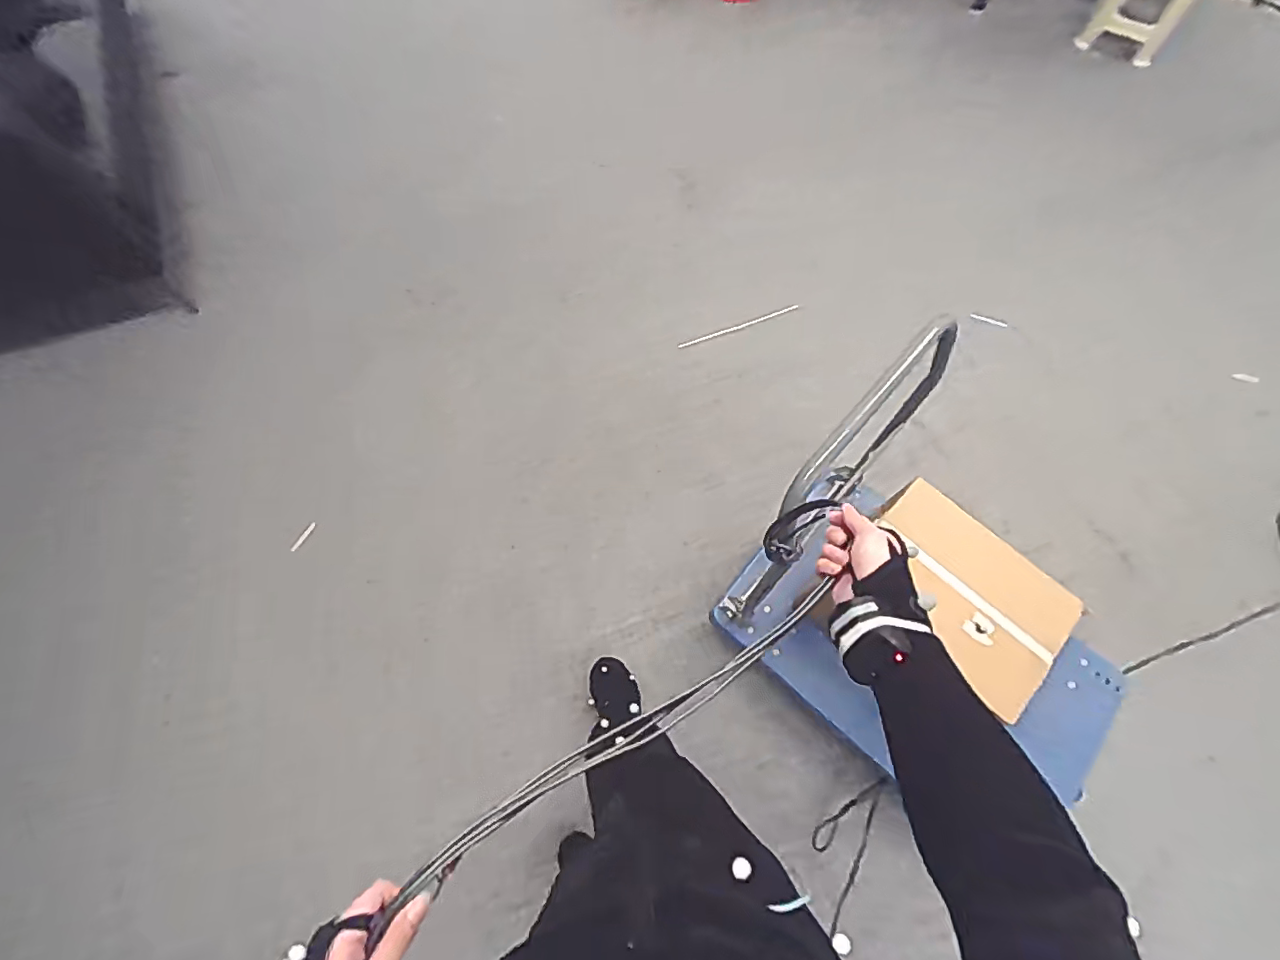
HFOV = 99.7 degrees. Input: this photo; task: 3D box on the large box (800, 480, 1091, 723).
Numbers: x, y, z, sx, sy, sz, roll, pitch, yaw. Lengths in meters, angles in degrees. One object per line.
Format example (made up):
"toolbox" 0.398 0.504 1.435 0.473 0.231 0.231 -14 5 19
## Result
"large box" 0.645 0.278 1.211 0.408 0.320 0.320 42 72 14
